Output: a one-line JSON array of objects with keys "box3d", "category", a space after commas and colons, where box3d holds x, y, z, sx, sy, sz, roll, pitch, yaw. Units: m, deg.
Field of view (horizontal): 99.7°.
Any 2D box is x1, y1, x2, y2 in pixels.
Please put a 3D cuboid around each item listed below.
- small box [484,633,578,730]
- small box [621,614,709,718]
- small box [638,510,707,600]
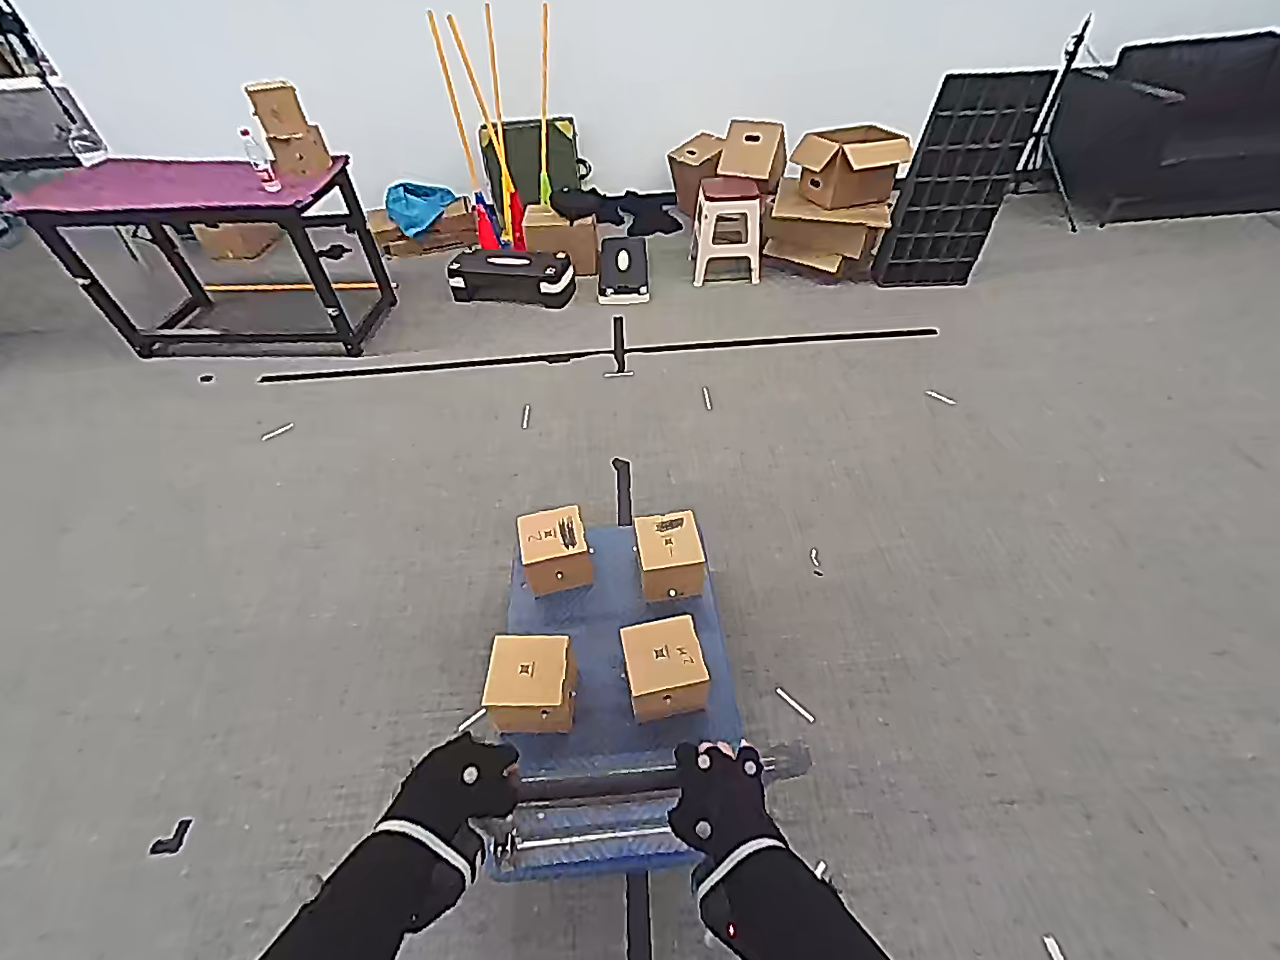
[{"box3d": [-0.249, 0.476, 1.273, 0.179, 0.176, 0.168, 0, 47, 1], "category": "small box"}, {"box3d": [0.059, 0.446, 1.284, 0.179, 0.176, 0.168, -10, 48, -6], "category": "small box"}, {"box3d": [0.085, 0.210, 1.500, 0.168, 0.176, 0.179, -7, 49, -3], "category": "small box"}]
